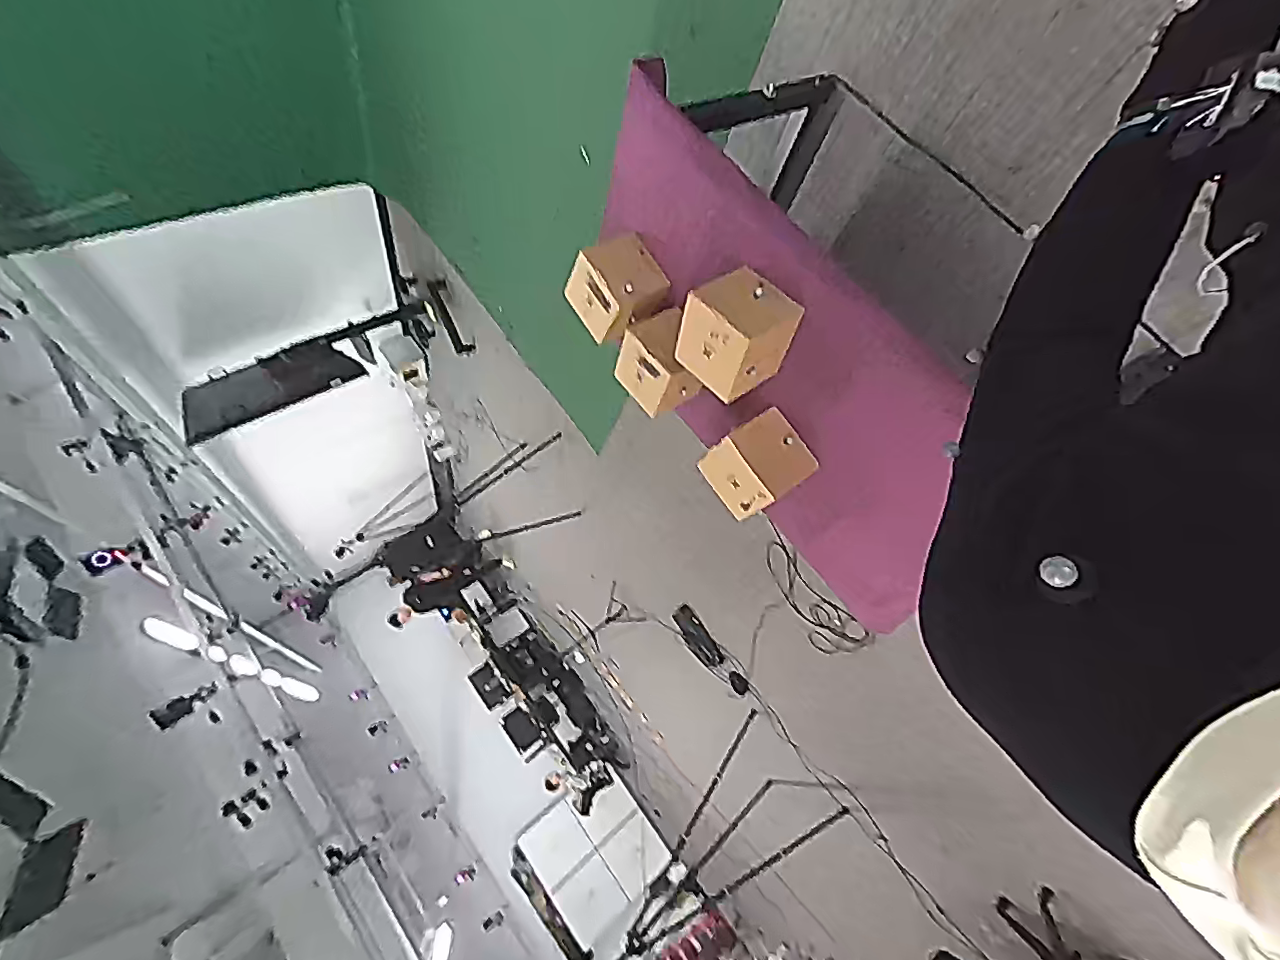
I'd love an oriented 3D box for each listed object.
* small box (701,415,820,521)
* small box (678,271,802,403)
[{"bbox_3d":[0.282,-0.034,1.274,0.179,0.176,0.168,55,152,7],"label":"small box"},{"bbox_3d":[0.206,-0.299,1.126,0.168,0.176,0.179,46,151,21],"label":"small box"}]
